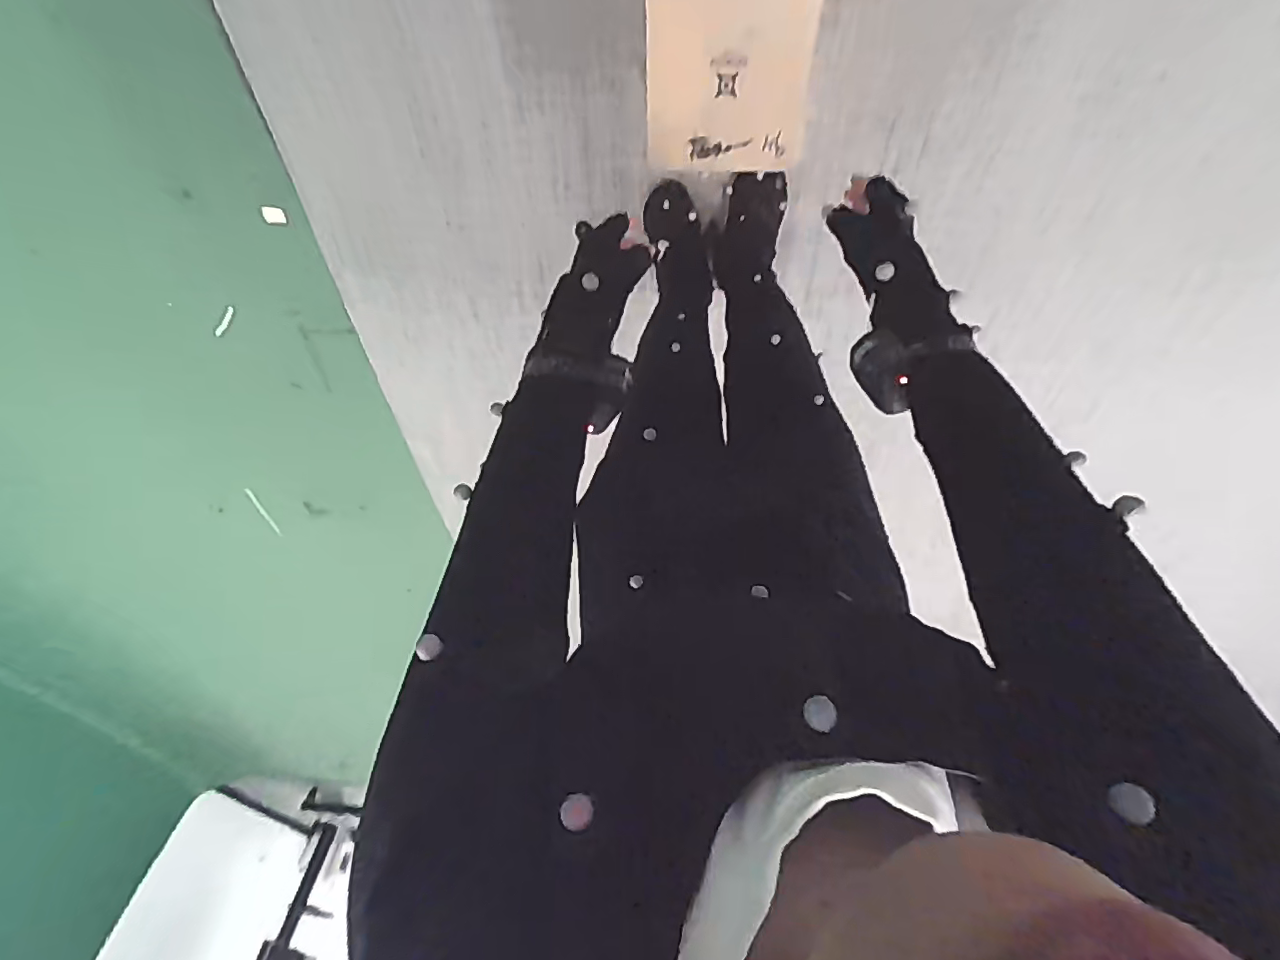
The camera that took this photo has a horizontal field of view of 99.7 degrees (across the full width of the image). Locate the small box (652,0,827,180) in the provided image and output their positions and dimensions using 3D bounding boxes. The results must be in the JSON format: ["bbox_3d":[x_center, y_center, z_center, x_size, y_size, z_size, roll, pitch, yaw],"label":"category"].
[{"bbox_3d":[0.101,-0.456,0.608,0.168,0.176,0.179,3,133,6],"label":"small box"}]
